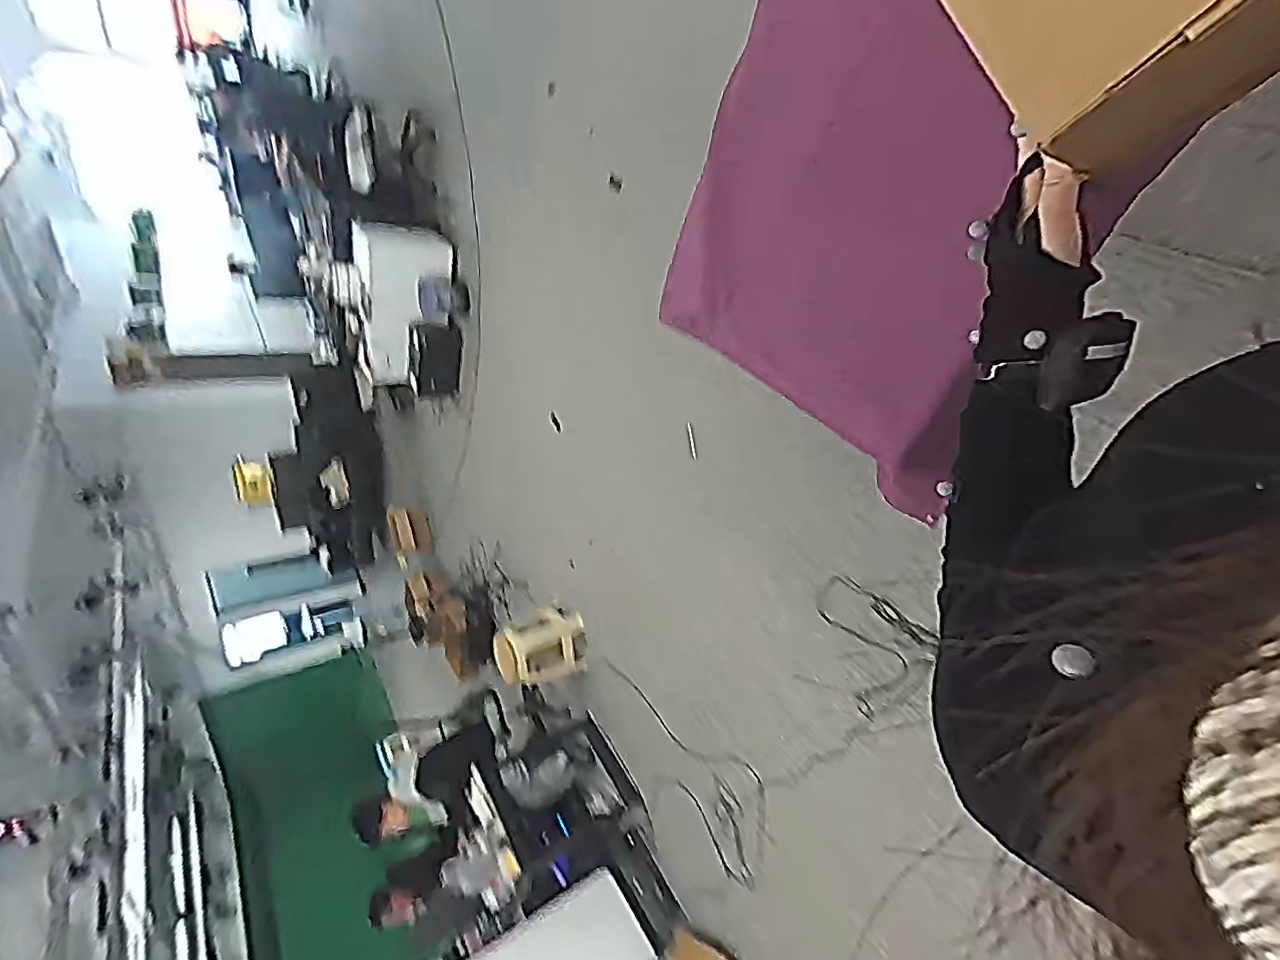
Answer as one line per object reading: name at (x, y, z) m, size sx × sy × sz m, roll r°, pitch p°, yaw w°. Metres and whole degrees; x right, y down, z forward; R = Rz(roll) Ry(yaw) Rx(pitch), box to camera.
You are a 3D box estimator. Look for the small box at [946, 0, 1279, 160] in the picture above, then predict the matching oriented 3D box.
small box at (0.279, -0.299, 0.281) m, size 0.168 × 0.176 × 0.179 m, roll -34°, pitch 76°, yaw 52°
